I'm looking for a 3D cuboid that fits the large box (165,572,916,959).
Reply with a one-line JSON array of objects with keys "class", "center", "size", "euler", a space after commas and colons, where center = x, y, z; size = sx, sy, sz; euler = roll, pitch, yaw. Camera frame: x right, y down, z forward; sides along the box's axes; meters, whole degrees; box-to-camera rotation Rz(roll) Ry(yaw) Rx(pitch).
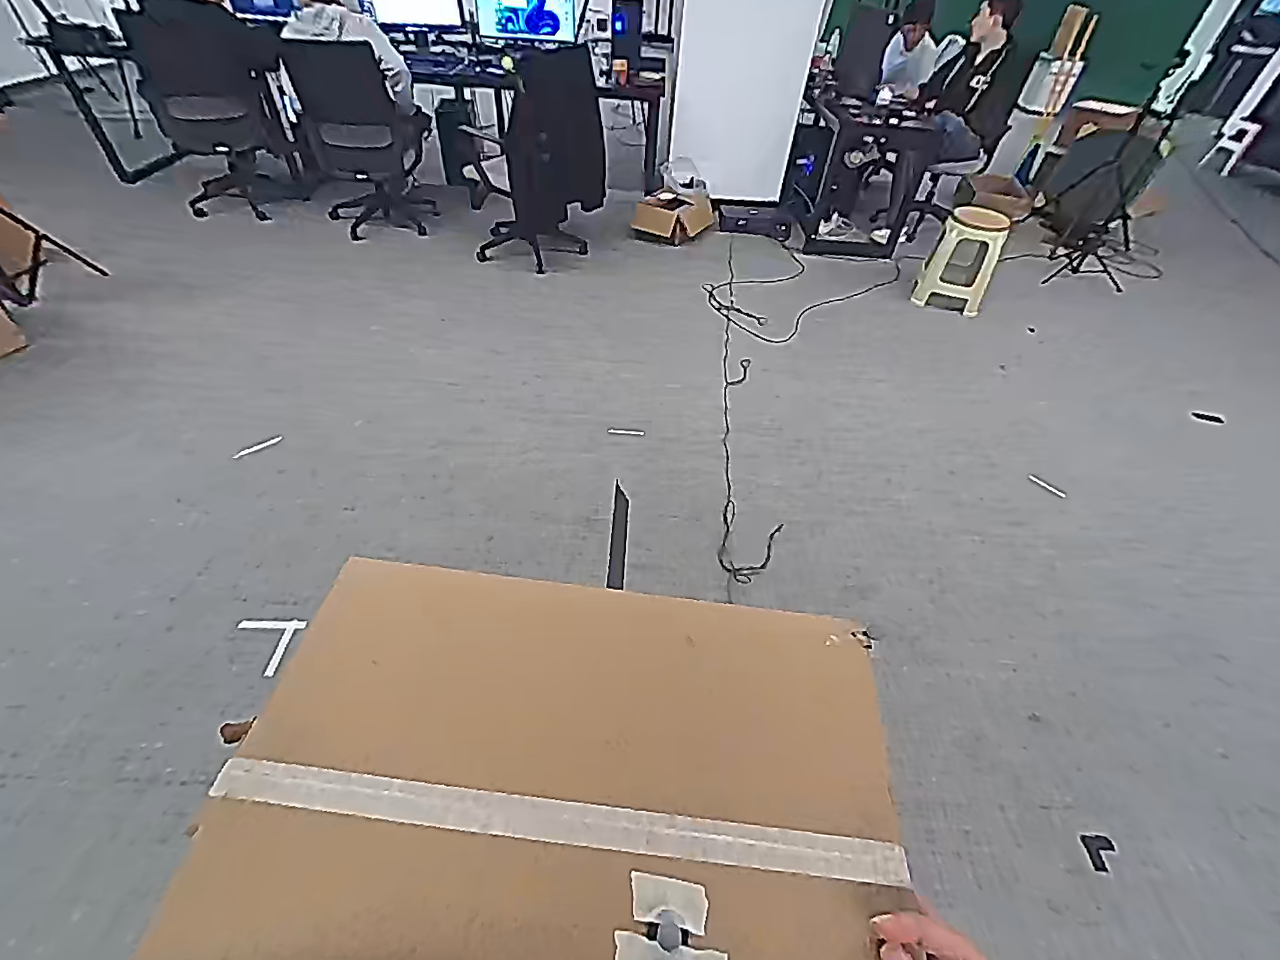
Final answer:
[{"class": "large box", "center": [-0.051, 0.305, 0.442], "size": [0.408, 0.320, 0.320], "euler": [7, 50, 1]}]
